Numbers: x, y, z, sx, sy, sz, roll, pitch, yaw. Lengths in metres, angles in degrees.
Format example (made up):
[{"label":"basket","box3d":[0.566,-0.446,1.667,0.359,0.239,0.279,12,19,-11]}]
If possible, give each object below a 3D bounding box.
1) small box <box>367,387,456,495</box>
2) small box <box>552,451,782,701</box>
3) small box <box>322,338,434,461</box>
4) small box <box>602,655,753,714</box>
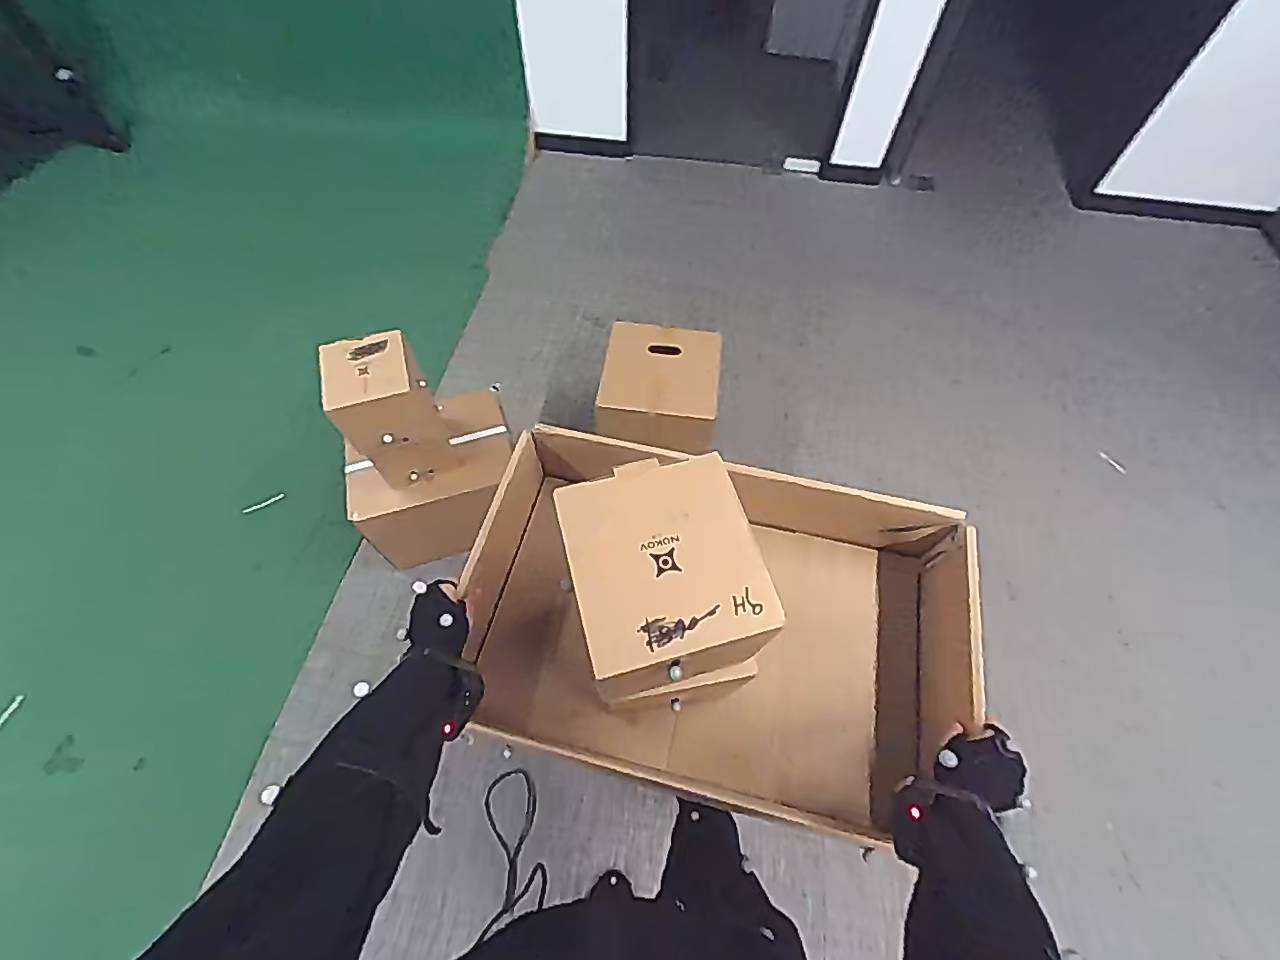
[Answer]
[{"label":"small box","box3d":[-0.561,-0.093,1.301,0.168,0.176,0.179,-20,61,-12]},{"label":"small box","box3d":[0.015,0.101,0.539,0.168,0.176,0.179,-13,61,-9]},{"label":"small box","box3d":[-0.555,-0.168,1.154,0.168,0.176,0.179,-16,61,-10]},{"label":"small box","box3d":[0.027,0.187,0.679,0.168,0.176,0.179,-8,61,-7]}]
